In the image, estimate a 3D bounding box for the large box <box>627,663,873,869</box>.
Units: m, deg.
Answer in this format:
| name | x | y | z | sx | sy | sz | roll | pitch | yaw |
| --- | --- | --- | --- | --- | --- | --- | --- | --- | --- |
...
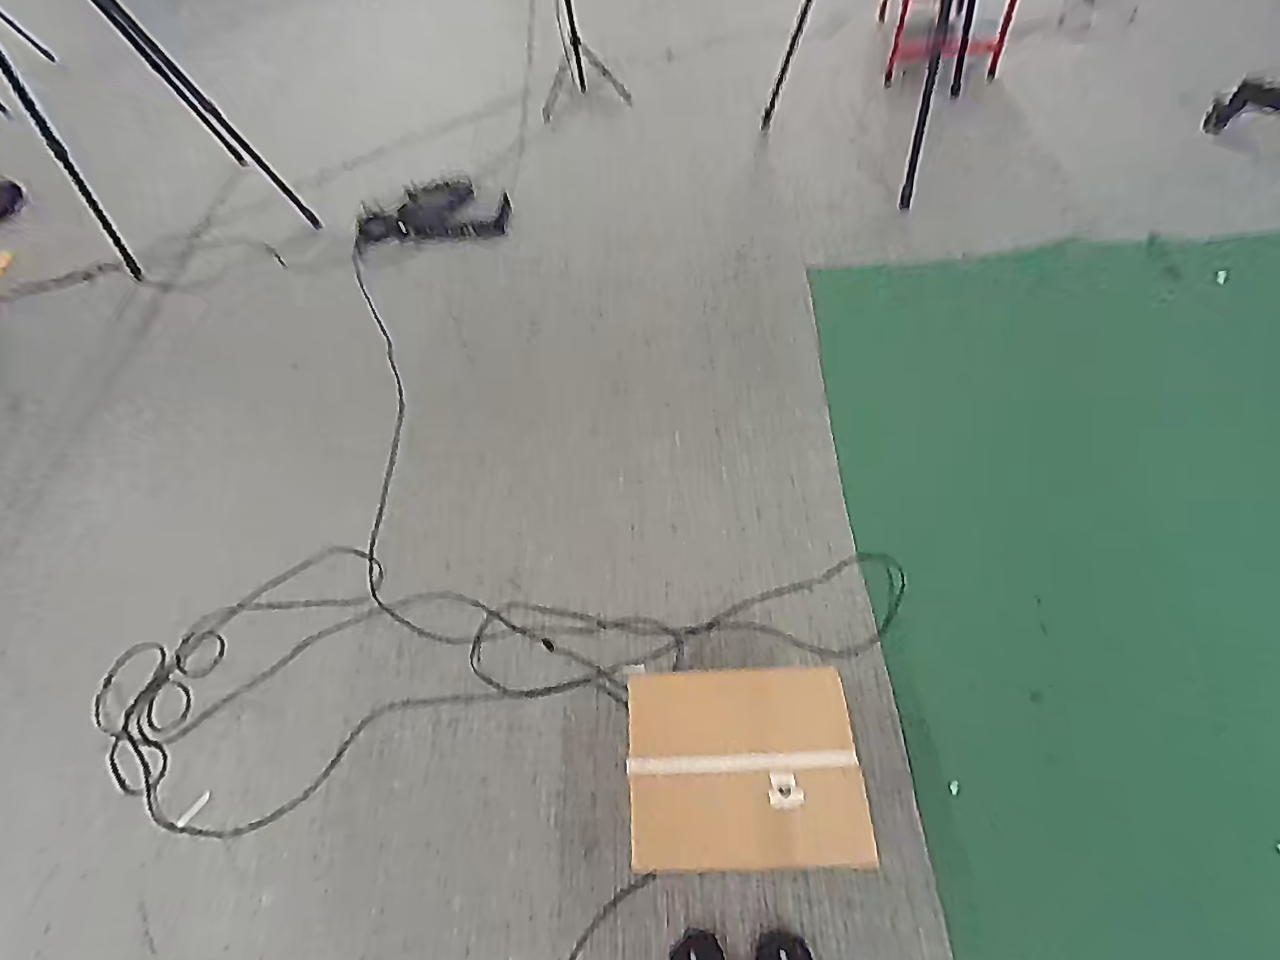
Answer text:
| name | x | y | z | sx | sy | sz | roll | pitch | yaw |
| --- | --- | --- | --- | --- | --- | --- | --- | --- | --- |
| large box | 0.187 | 0.570 | 1.090 | 0.408 | 0.320 | 0.320 | -3 | 61 | 2 |
